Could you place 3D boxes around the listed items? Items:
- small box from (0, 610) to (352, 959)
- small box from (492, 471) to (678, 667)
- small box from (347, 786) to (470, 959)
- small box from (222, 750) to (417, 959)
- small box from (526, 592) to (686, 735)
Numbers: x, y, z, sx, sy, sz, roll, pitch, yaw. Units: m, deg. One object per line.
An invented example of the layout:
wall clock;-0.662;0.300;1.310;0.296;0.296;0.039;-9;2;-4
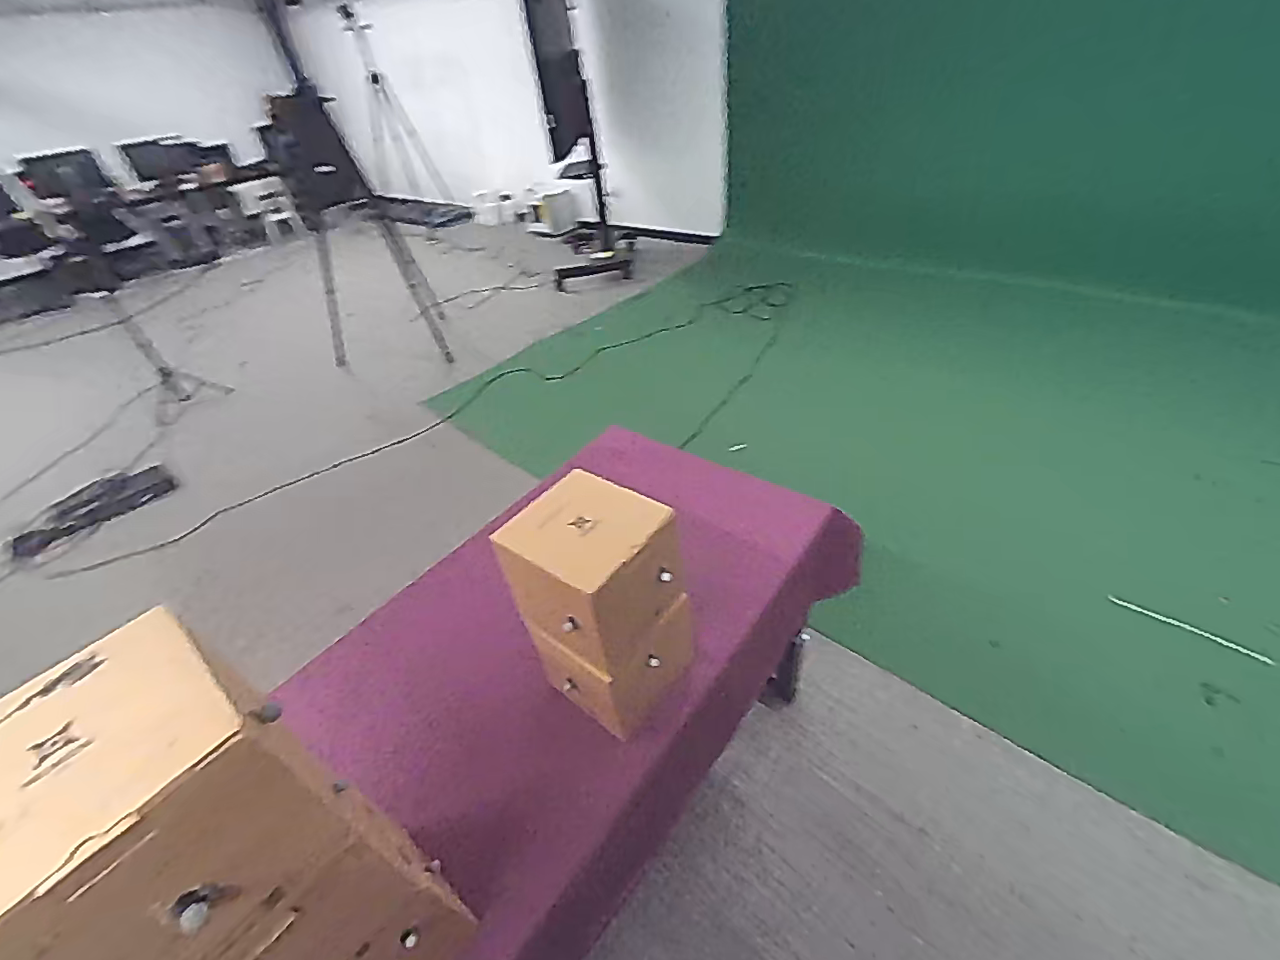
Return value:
small box;-0.344;0.234;0.381;0.179;0.176;0.168;24;48;32
small box;-0.063;0.121;0.730;0.179;0.176;0.168;22;47;32
small box;-0.317;0.490;0.586;0.168;0.176;0.179;23;47;32
small box;-0.336;0.362;0.485;0.179;0.176;0.168;21;47;33
small box;-0.041;0.249;0.829;0.168;0.176;0.179;25;49;33
